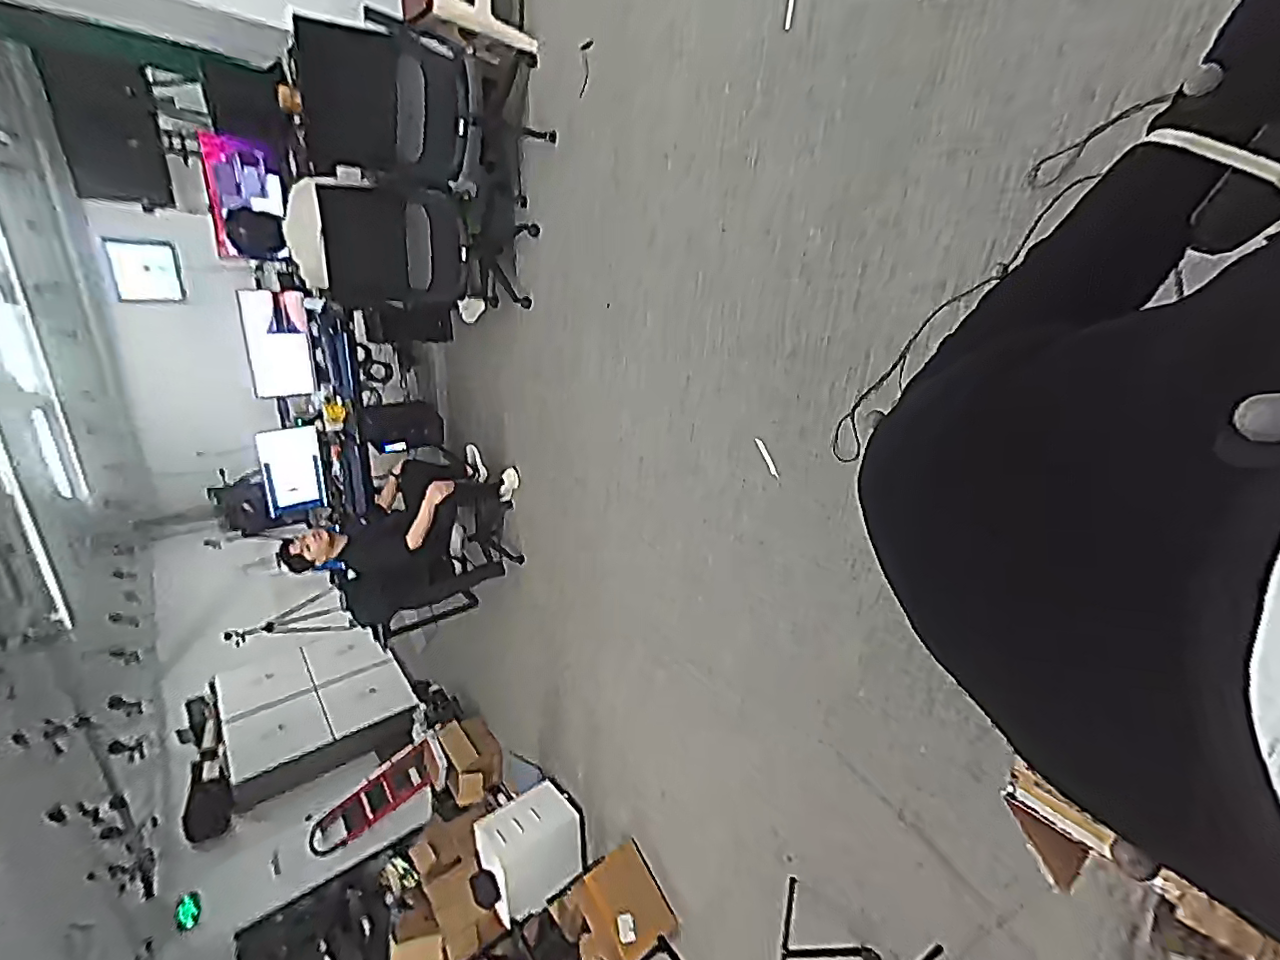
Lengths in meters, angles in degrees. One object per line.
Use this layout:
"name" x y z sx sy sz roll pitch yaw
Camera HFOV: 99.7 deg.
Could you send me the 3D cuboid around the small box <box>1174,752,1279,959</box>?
"small box" 0.827 0.495 0.685 0.168 0.176 0.179 22 113 44
